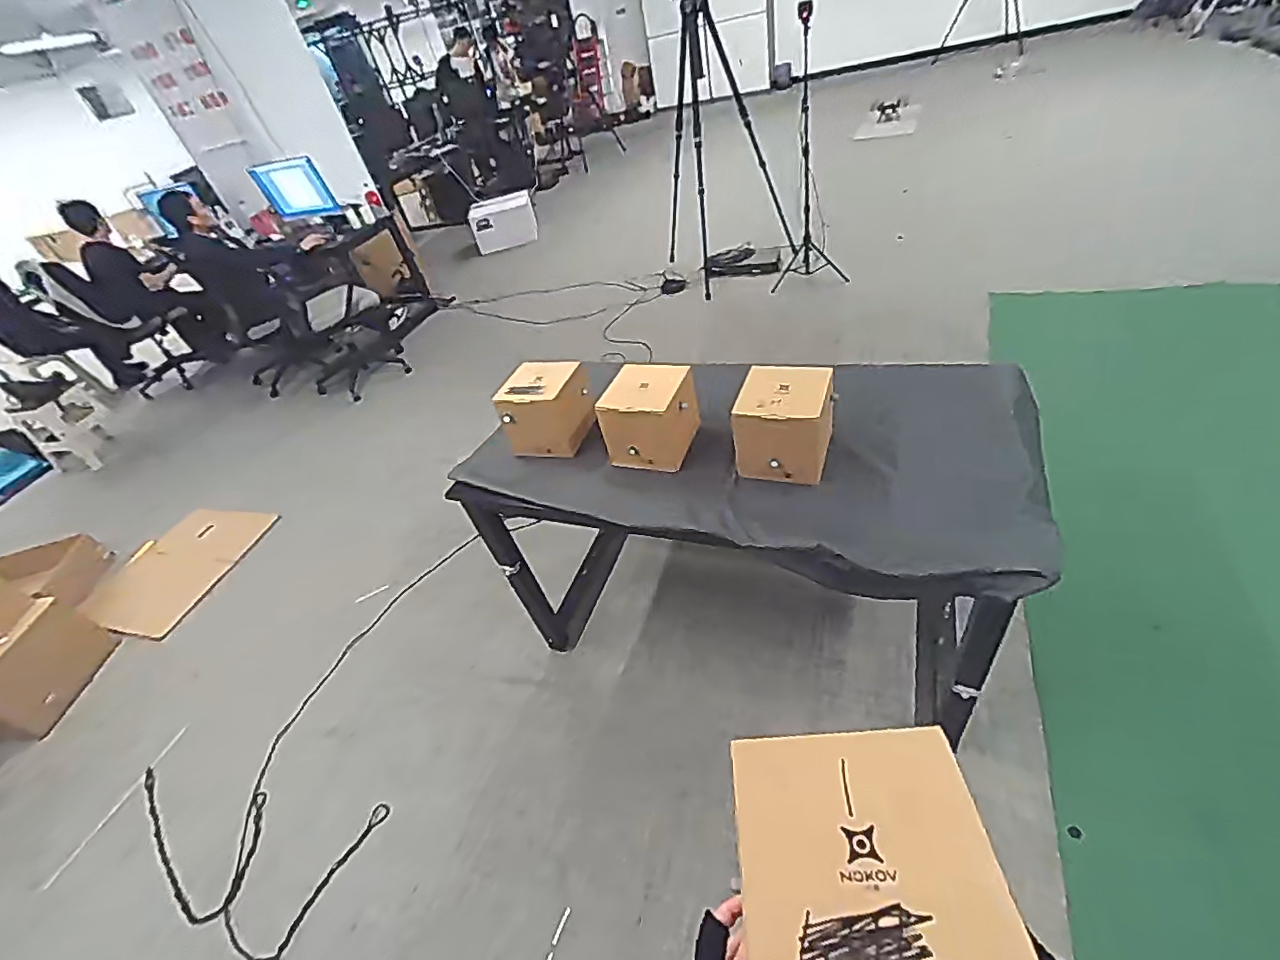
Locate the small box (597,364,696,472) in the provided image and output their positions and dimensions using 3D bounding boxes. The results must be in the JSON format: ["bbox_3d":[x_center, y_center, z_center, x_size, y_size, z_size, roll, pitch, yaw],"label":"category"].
[{"bbox_3d":[0.024,-0.143,1.231,0.168,0.176,0.179,8,46,23],"label":"small box"}]

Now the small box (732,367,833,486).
[{"bbox_3d":[0.296,-0.113,1.113,0.168,0.176,0.179,7,46,24],"label":"small box"}]

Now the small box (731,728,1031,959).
[{"bbox_3d":[0.166,0.318,0.410,0.168,0.176,0.179,-8,36,10],"label":"small box"}]
